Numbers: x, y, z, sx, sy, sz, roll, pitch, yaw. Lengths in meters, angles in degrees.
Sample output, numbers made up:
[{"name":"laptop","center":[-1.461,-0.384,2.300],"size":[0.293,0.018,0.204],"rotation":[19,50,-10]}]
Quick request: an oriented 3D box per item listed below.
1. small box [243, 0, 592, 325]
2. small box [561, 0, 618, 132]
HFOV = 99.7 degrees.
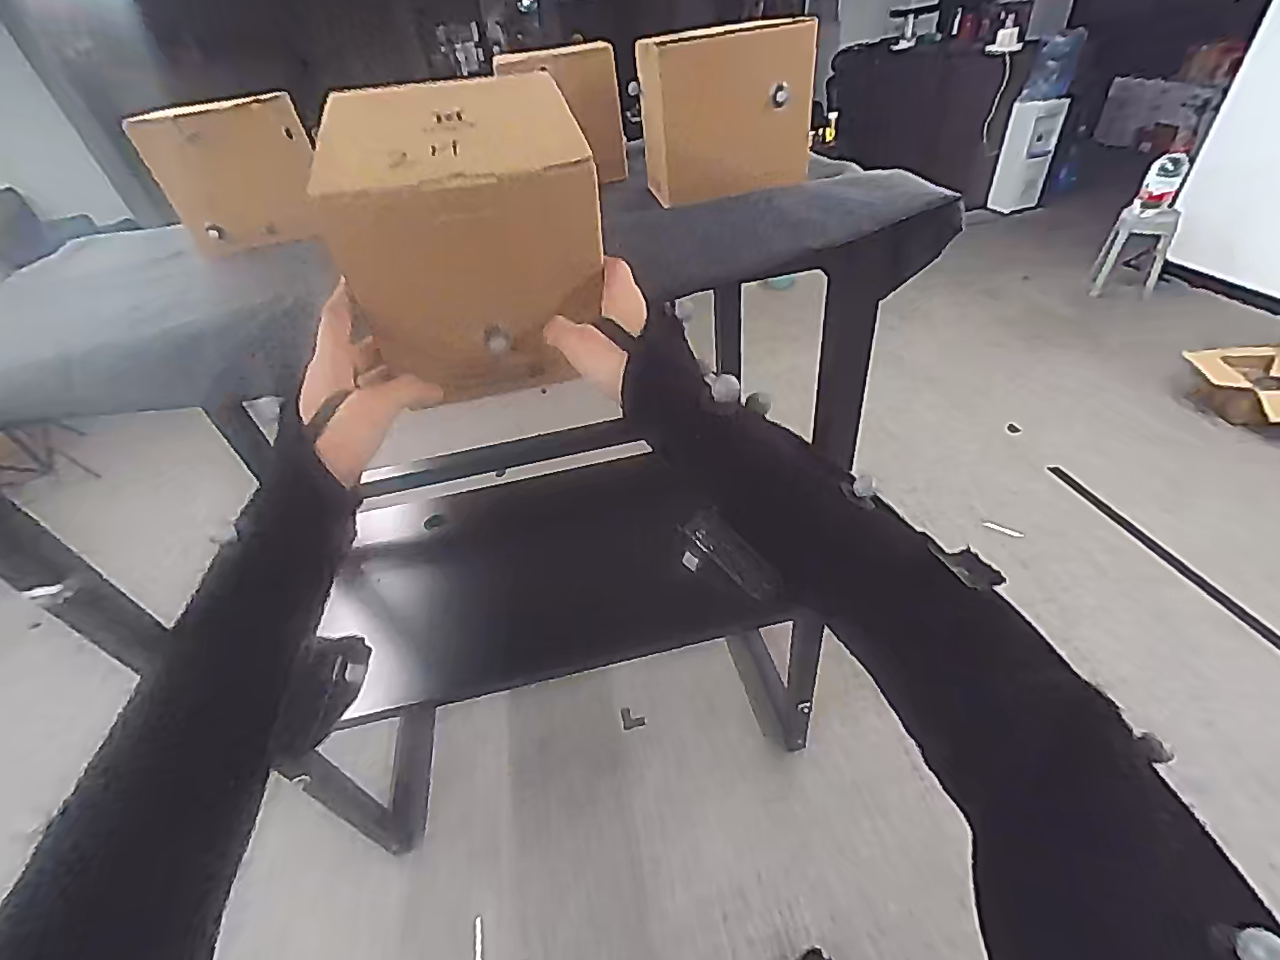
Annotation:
[{"name":"small box","center":[-0.134,-0.237,0.386],"size":[0.168,0.176,0.179],"rotation":[-12,53,-9]},{"name":"small box","center":[-0.133,-0.619,0.799],"size":[0.168,0.176,0.179],"rotation":[-12,41,-4]}]
